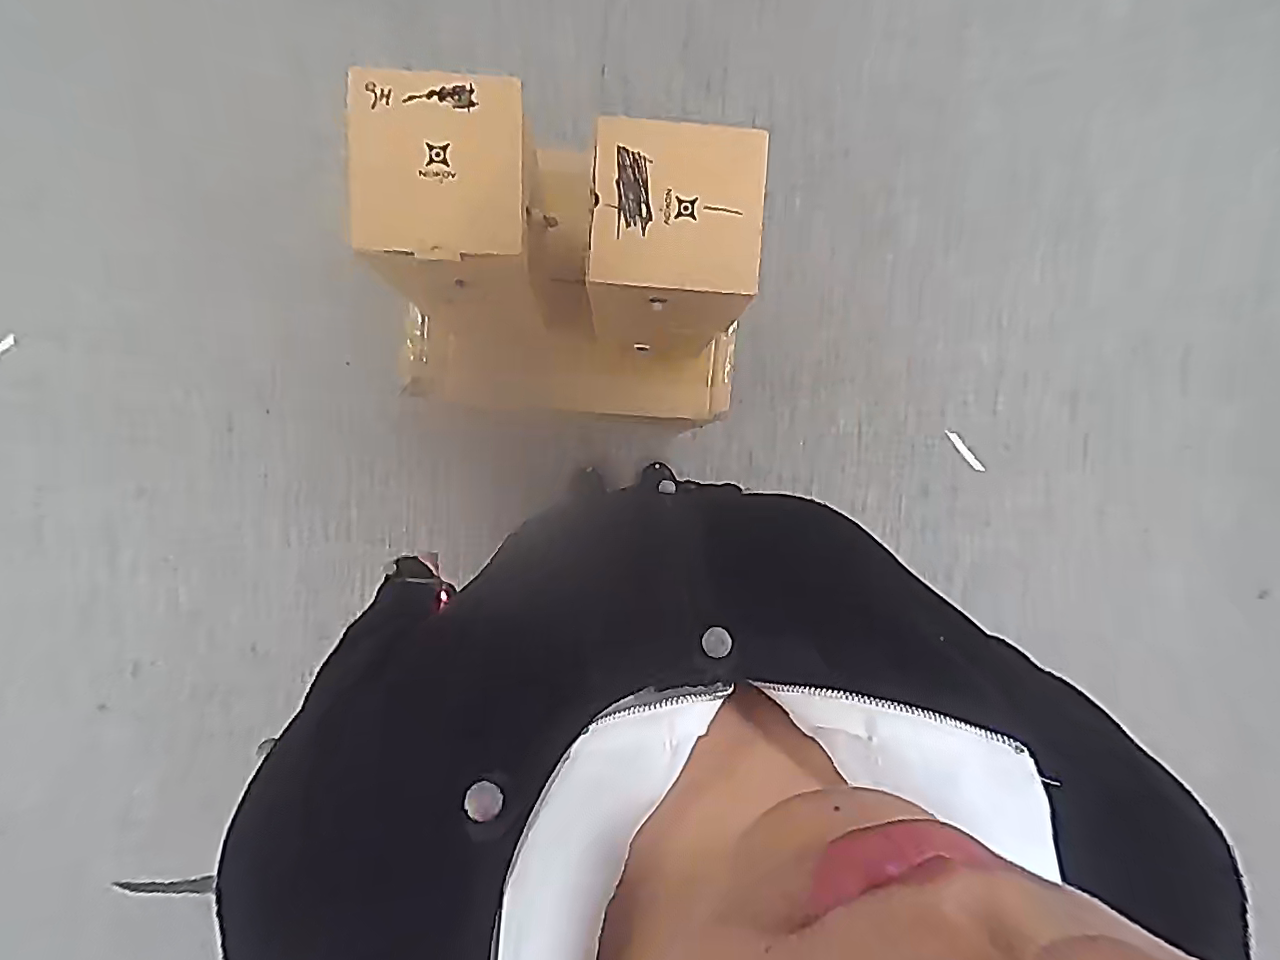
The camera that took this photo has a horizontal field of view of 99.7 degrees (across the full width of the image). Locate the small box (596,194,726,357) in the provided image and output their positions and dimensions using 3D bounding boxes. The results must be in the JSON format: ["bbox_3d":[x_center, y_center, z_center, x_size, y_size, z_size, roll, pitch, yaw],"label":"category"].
[{"bbox_3d":[0.025,-0.286,0.790,0.168,0.176,0.179,3,93,-1],"label":"small box"}]

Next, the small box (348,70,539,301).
[{"bbox_3d":[-0.205,-0.309,0.607,0.168,0.176,0.179,1,93,-4],"label":"small box"}]

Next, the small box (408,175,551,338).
[{"bbox_3d":[-0.217,-0.313,0.771,0.168,0.176,0.179,2,92,-5],"label":"small box"}]
